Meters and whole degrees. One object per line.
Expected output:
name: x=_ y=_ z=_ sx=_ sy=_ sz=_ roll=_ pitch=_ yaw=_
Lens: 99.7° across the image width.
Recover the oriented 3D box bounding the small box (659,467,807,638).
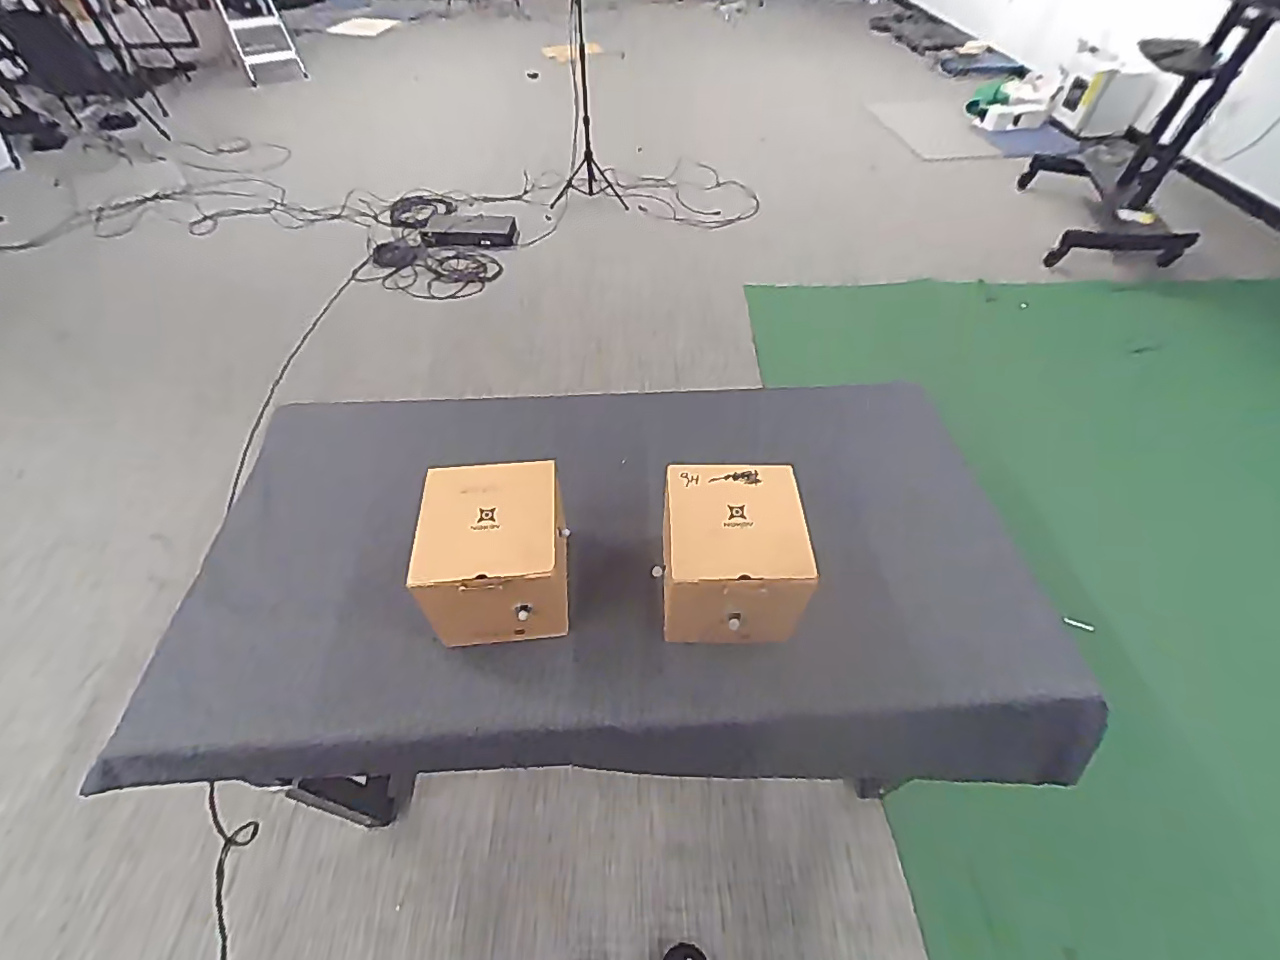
small box: x=0.112 y=0.101 z=0.726 sx=0.168 sy=0.176 sz=0.179 roll=0 pitch=51 yaw=0

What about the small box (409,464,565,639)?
small box: x=-0.191 y=0.102 z=0.729 sx=0.168 sy=0.176 sz=0.179 roll=-4 pitch=49 yaw=-5
